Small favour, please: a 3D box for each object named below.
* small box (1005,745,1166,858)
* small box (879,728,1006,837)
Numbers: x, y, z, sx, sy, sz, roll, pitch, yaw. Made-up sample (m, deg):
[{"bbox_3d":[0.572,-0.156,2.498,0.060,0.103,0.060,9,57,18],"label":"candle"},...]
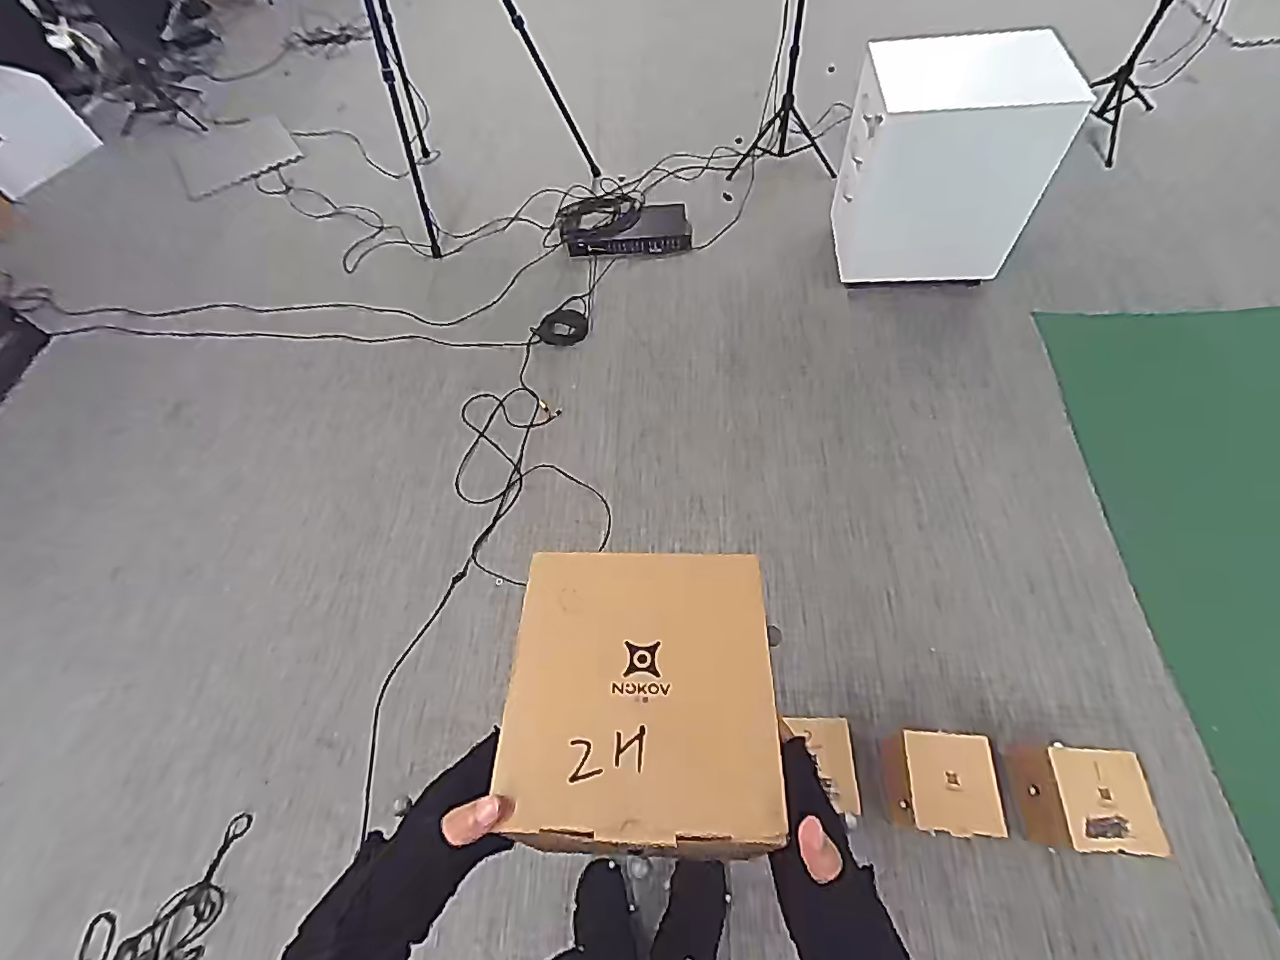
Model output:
[{"bbox_3d":[0.880,0.641,1.089,0.168,0.176,0.179,1,60,6],"label":"small box"},{"bbox_3d":[0.613,0.626,1.124,0.168,0.176,0.179,2,61,6],"label":"small box"}]
